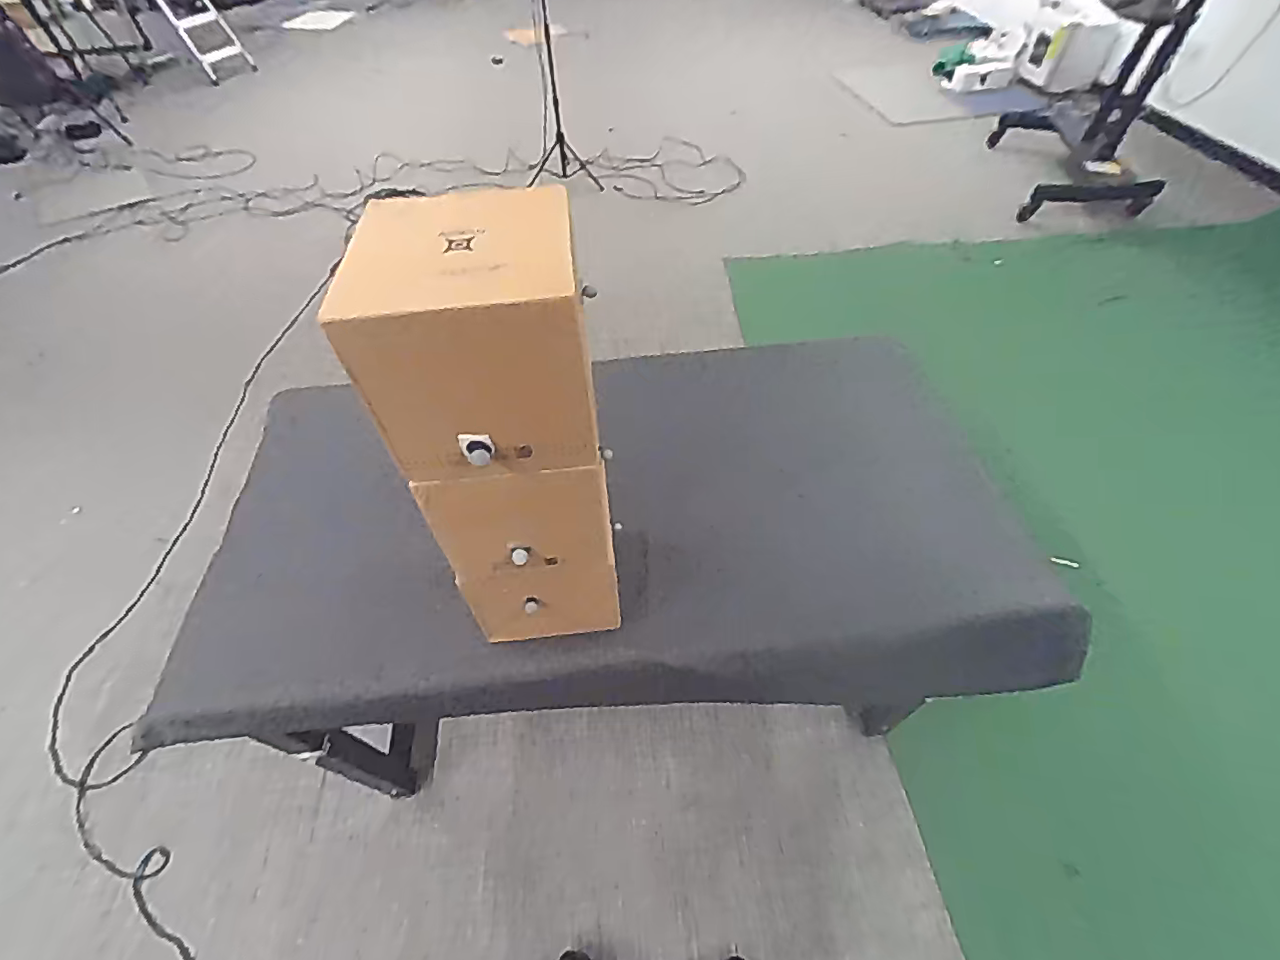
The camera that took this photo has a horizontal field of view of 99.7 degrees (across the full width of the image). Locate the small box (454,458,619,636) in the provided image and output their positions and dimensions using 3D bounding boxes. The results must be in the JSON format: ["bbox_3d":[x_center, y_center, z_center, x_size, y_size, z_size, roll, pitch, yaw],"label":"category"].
[{"bbox_3d":[-0.125,0.091,0.710,0.179,0.176,0.168,-5,51,-3],"label":"small box"}]

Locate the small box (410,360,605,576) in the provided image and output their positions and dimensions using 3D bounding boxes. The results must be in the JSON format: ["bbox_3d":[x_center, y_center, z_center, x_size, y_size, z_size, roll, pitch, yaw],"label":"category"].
[{"bbox_3d":[-0.126,-0.017,0.586,0.168,0.176,0.179,-5,51,-3],"label":"small box"}]

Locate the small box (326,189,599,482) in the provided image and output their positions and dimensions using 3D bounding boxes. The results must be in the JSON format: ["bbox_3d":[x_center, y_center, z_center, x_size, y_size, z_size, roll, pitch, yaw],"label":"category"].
[{"bbox_3d":[-0.128,-0.121,0.462,0.168,0.176,0.179,-7,51,-3],"label":"small box"}]
